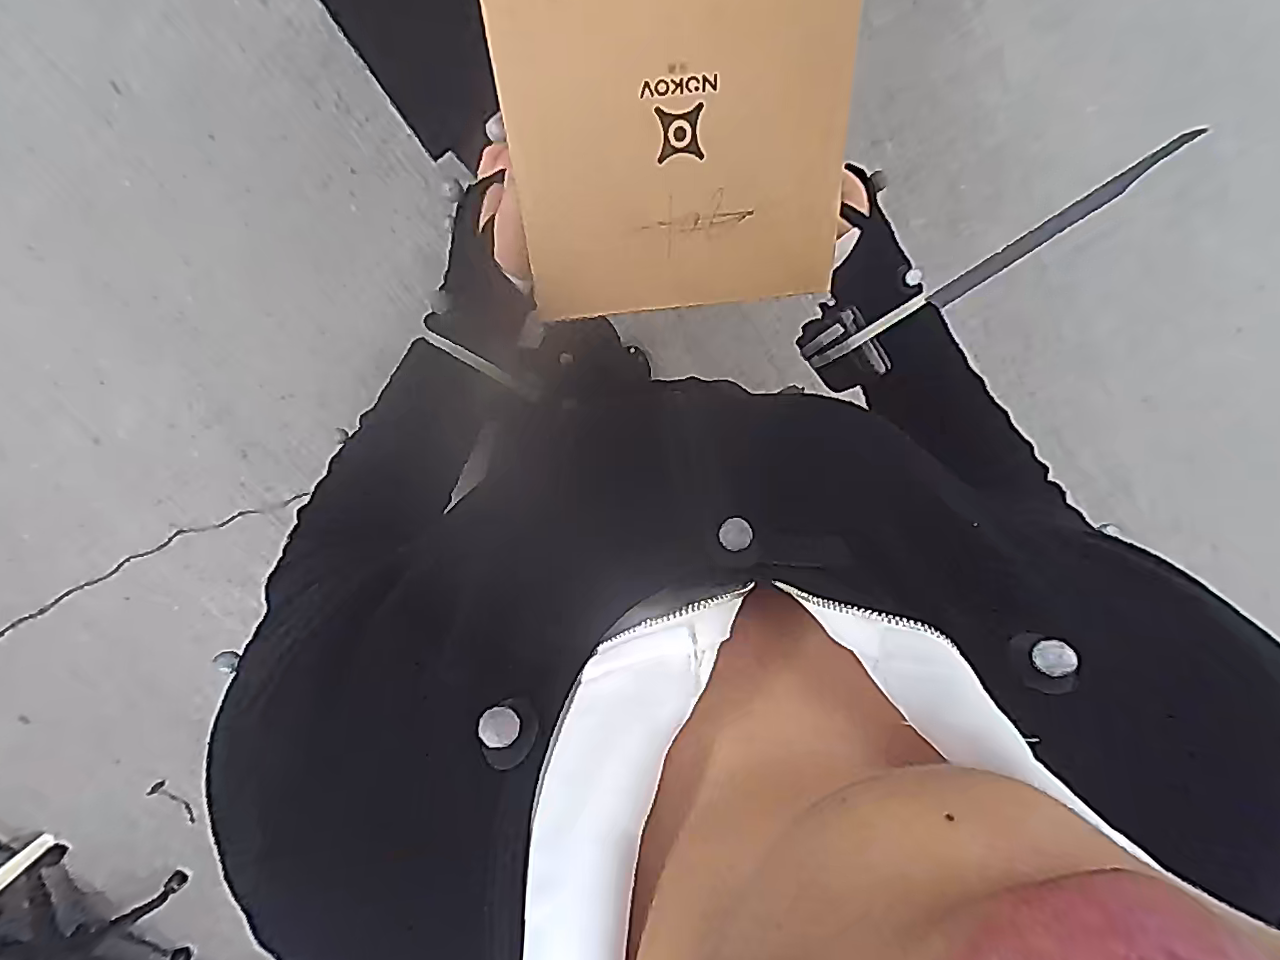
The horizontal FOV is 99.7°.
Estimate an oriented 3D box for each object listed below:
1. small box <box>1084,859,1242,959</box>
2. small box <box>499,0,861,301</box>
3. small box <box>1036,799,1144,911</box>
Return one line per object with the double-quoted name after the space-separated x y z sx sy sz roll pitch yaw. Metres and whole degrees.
1.175 1.015 1.225 0.179 0.176 0.168 -41 104 9 "small box"
0.015 -0.226 0.329 0.168 0.176 0.179 -6 125 0 "small box"
1.169 0.974 1.386 0.179 0.176 0.168 -41 104 9 "small box"
